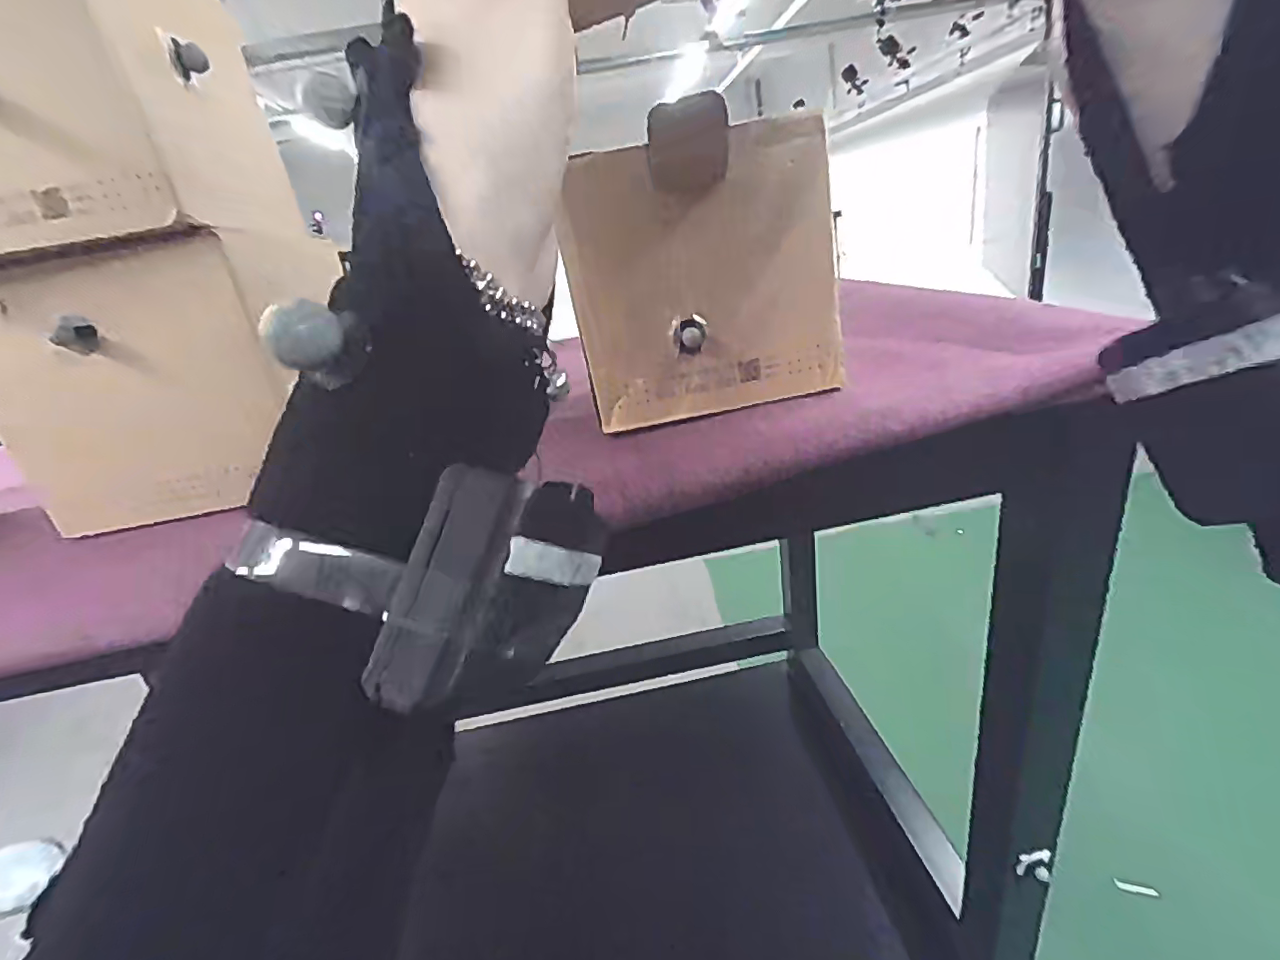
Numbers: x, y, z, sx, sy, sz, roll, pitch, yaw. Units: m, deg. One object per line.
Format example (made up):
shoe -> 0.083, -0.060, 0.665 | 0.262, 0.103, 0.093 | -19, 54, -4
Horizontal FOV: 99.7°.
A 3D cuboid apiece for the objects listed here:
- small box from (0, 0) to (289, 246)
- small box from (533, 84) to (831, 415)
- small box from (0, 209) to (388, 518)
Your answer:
small box -> -0.355, -0.230, 0.329 | 0.168, 0.176, 0.179 | -13, 23, -6
small box -> 0.030, -0.157, 0.406 | 0.168, 0.176, 0.179 | -12, 21, 1
small box -> -0.323, -0.085, 0.401 | 0.179, 0.176, 0.168 | -11, 22, -2
